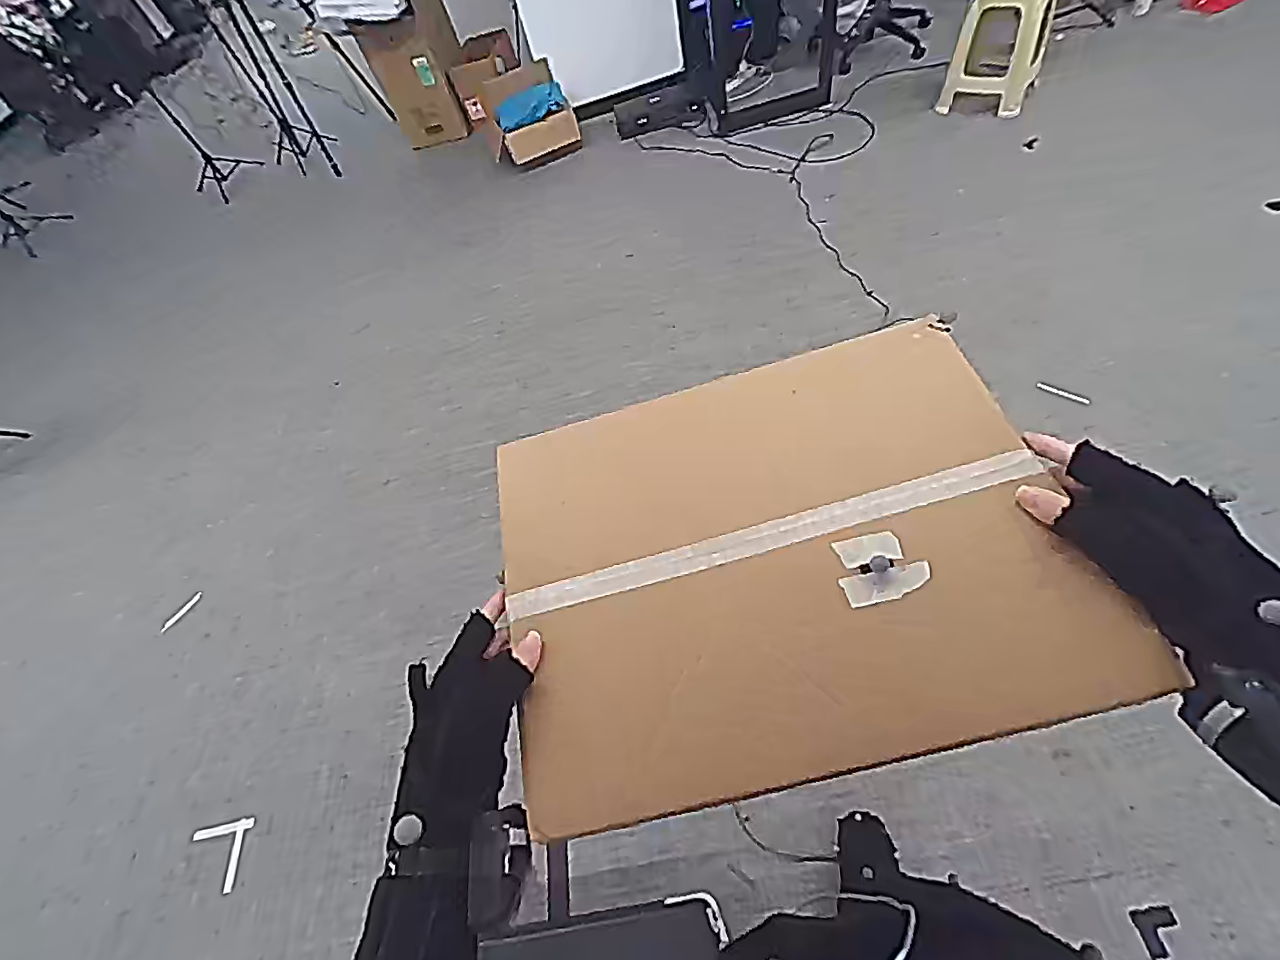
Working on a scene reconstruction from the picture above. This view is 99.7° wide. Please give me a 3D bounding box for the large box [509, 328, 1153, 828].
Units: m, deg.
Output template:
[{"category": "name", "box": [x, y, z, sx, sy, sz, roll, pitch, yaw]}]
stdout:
[{"category": "large box", "box": [0.126, 0.117, 0.547, 0.408, 0.320, 0.320, -17, 60, 4]}]
